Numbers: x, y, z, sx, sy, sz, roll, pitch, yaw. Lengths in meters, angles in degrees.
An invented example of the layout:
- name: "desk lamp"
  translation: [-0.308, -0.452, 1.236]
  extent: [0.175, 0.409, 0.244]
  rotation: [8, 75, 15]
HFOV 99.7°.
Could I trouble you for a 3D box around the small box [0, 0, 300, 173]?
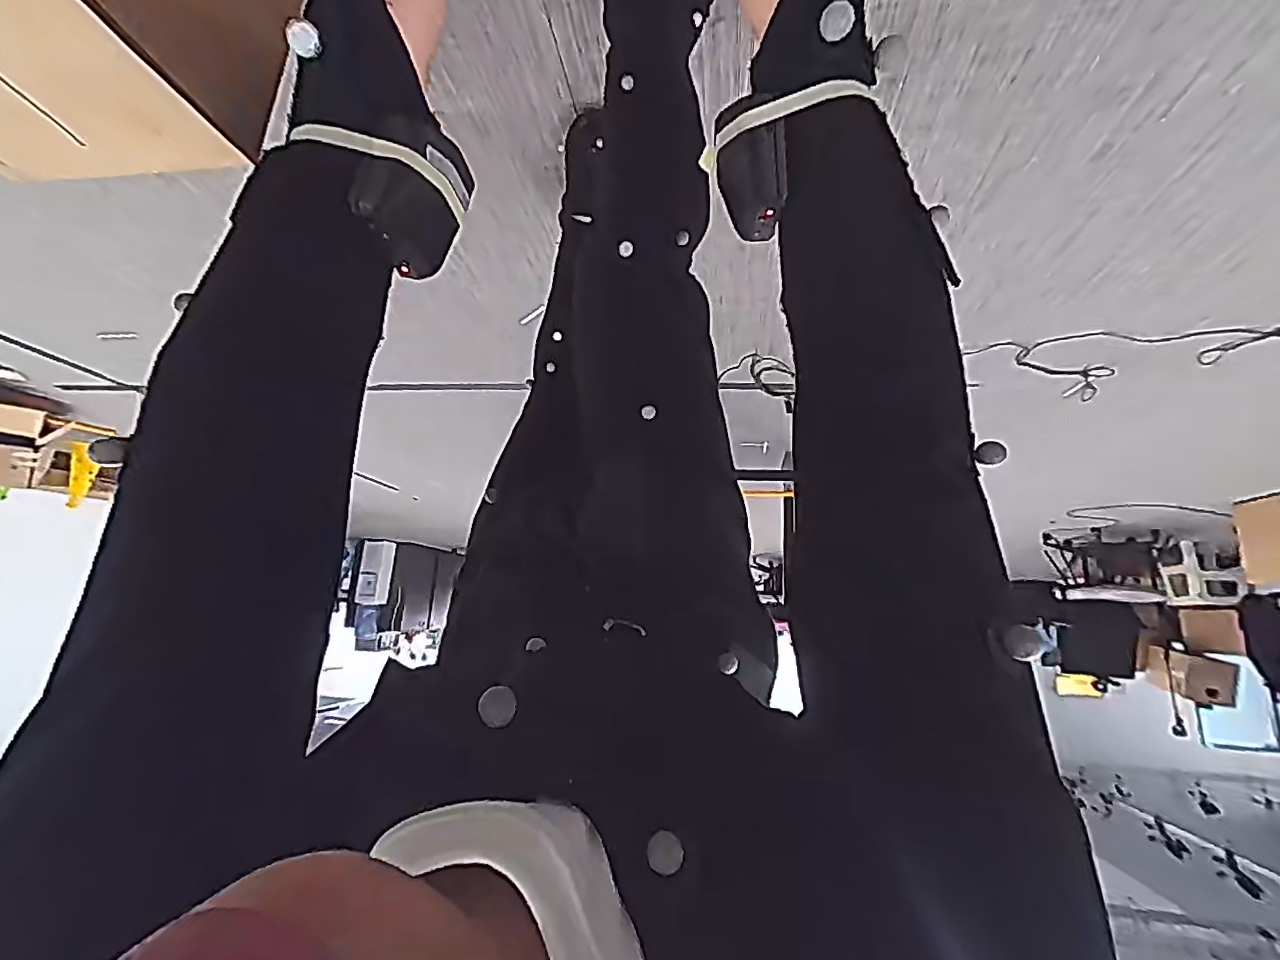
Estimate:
- name: "small box"
  translation: [-0.290, -0.277, 0.240]
  extent: [0.168, 0.176, 0.179]
  rotation: [2, 166, 8]
